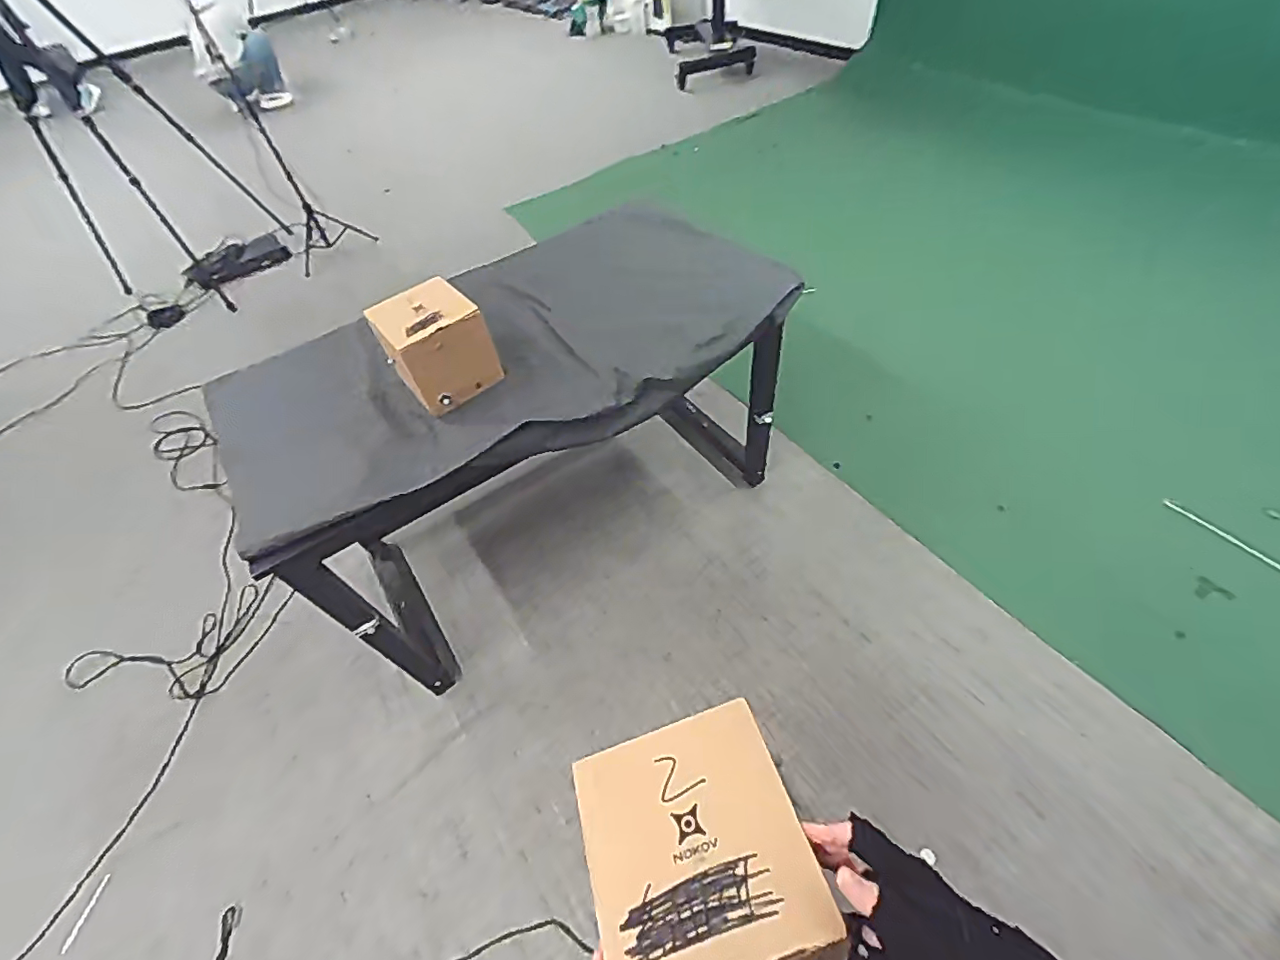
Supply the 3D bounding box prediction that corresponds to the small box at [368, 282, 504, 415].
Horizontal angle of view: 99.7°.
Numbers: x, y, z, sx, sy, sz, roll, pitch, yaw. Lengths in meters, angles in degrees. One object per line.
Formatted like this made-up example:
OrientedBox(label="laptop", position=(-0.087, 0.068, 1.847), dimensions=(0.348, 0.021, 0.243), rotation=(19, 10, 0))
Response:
OrientedBox(label="small box", position=(-0.395, -0.253, 1.070), dimensions=(0.168, 0.176, 0.179), rotation=(-35, 55, -20))
